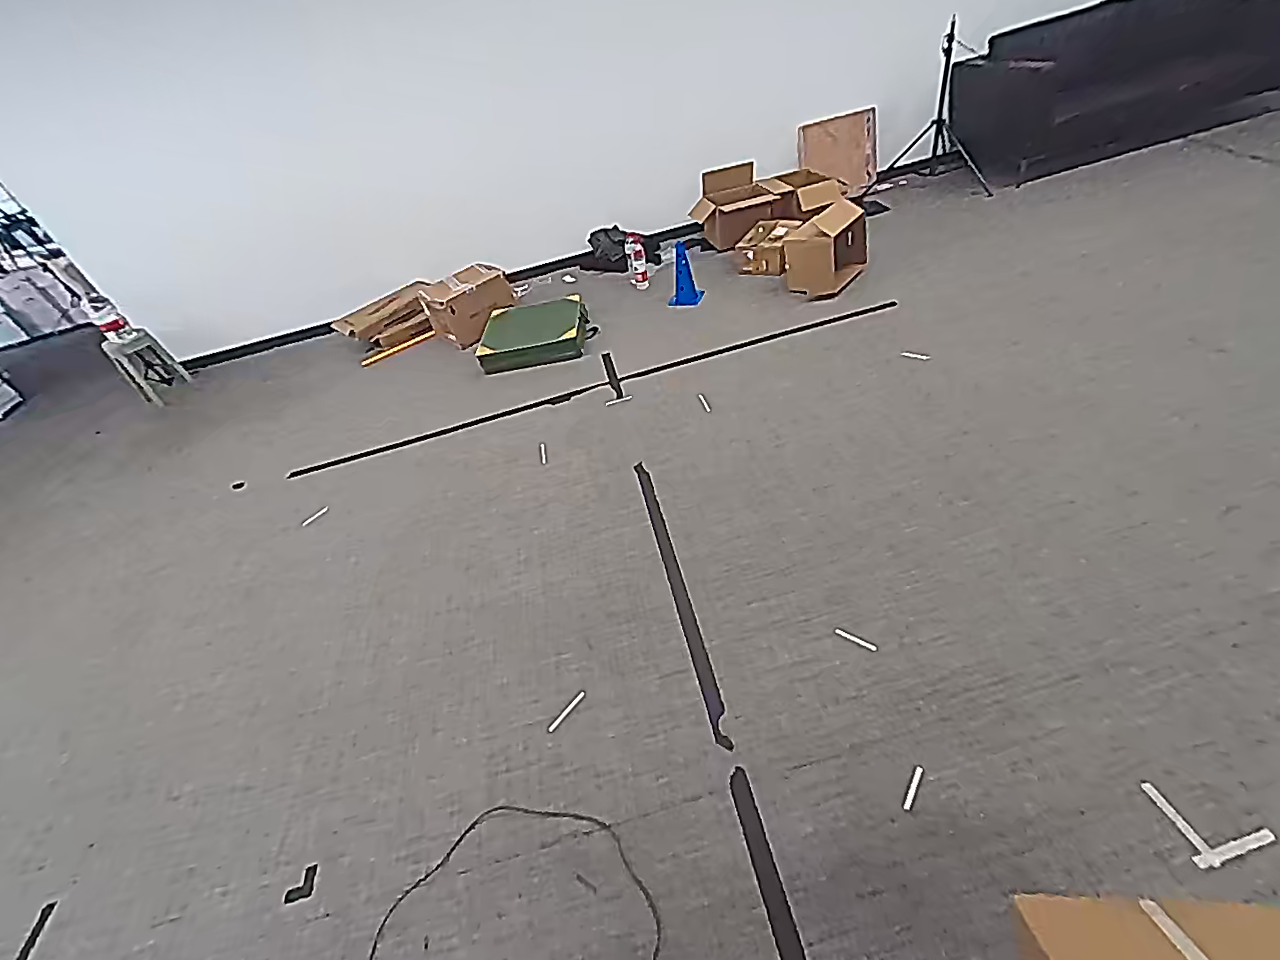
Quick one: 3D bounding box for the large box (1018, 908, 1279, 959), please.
[{"bbox_3d":[0.630,0.711,0.503,0.320,0.320,0.408,-8,-3,13],"label":"large box"}]
